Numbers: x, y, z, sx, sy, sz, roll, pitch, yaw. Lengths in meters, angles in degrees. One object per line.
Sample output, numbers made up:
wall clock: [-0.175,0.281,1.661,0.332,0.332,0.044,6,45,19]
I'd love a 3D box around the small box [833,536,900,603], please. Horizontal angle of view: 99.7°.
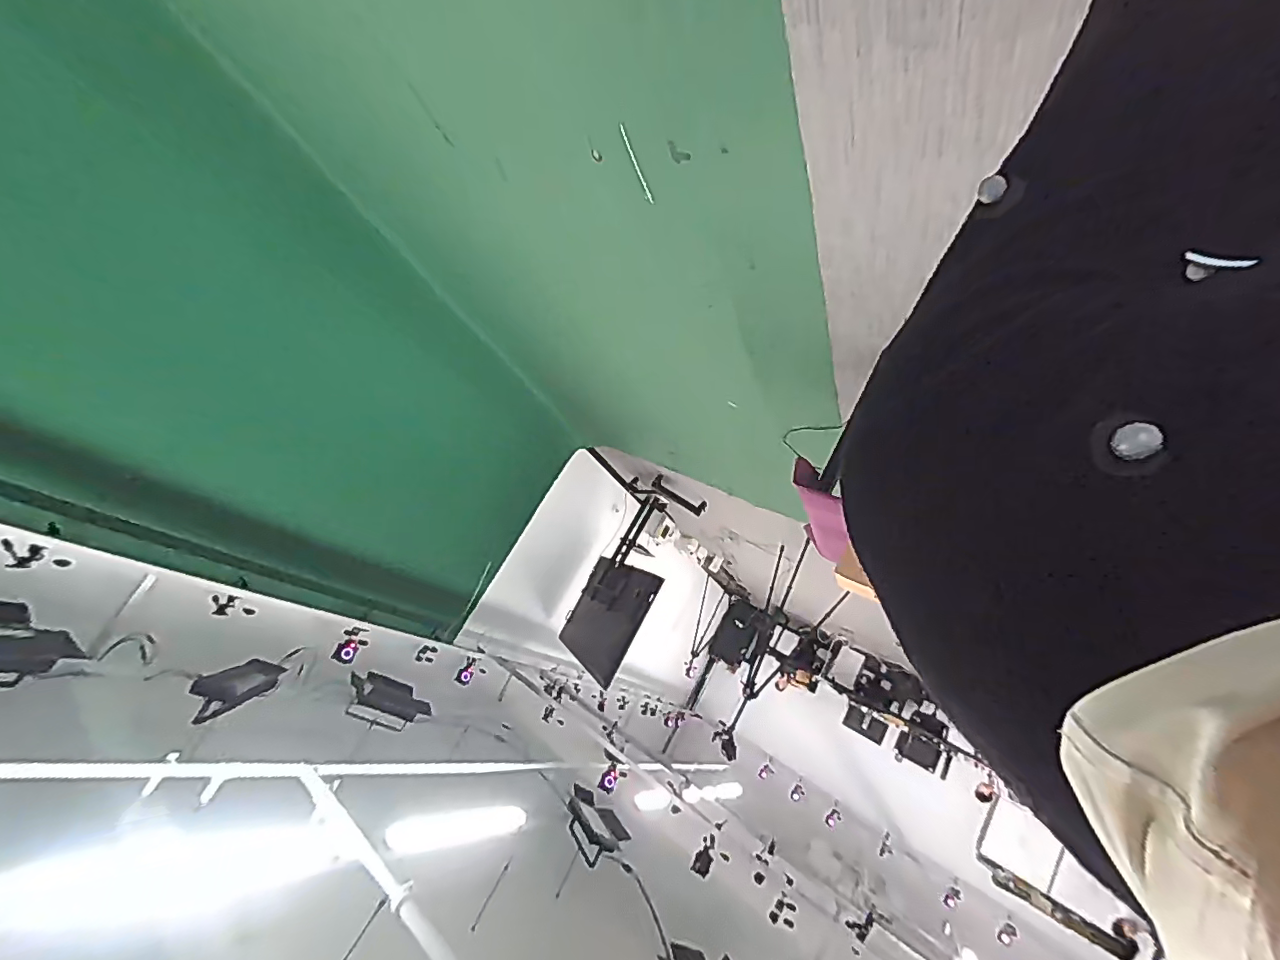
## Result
small box: [0.839,0.324,2.000,0.179,0.176,0.168,22,165,32]
